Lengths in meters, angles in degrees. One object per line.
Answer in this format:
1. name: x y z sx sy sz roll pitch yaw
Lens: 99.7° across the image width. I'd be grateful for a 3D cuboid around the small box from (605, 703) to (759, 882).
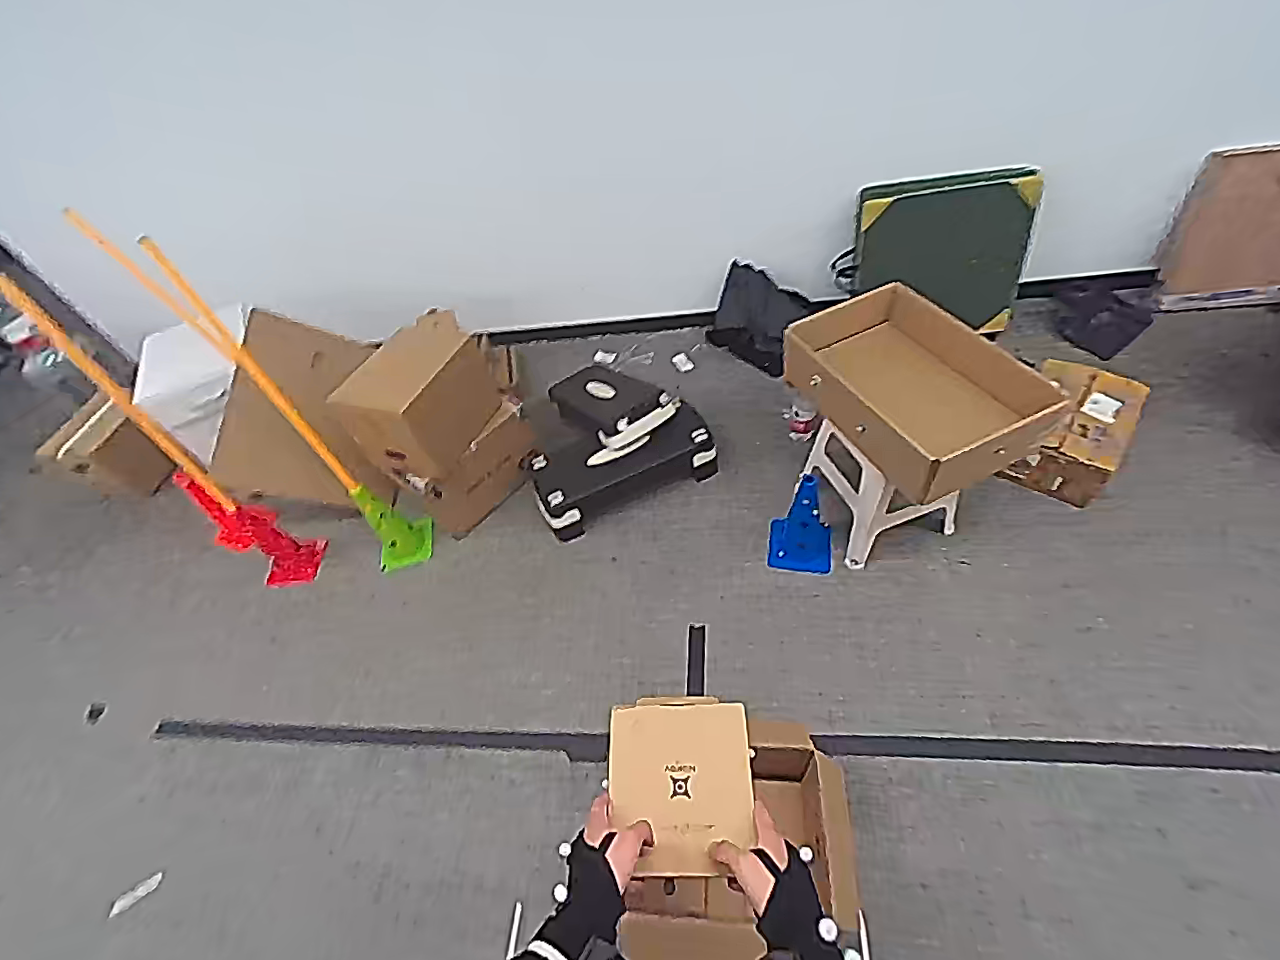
1. small box: 0.050 0.395 0.681 0.168 0.176 0.179 -1 53 3
